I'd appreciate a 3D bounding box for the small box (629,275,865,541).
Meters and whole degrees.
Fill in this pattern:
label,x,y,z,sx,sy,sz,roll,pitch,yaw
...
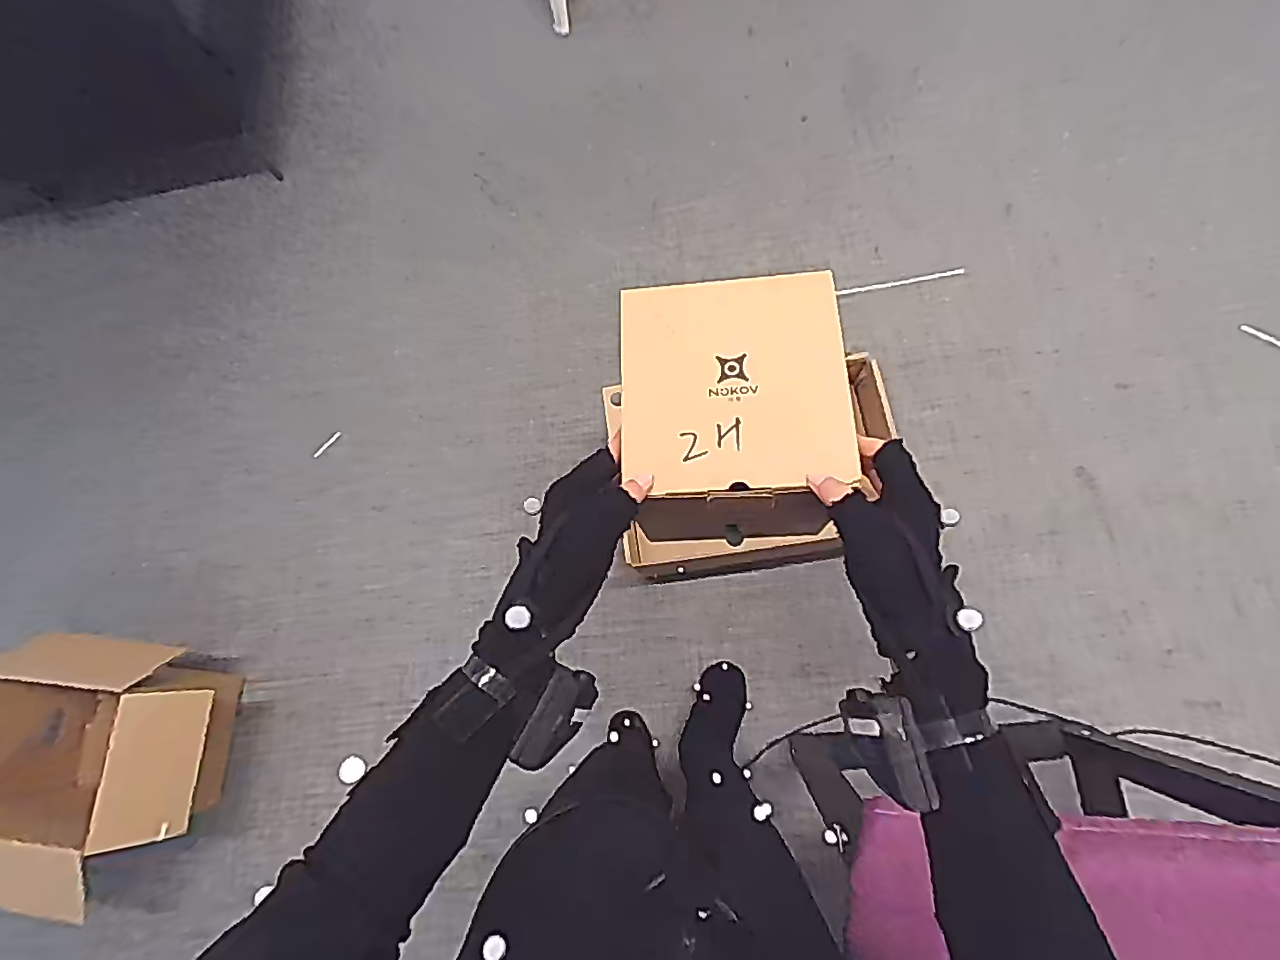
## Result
label,x,y,z,sx,sy,sz,roll,pitch,yaw
small box,0.083,-0.051,0.479,0.168,0.176,0.179,-3,71,7
